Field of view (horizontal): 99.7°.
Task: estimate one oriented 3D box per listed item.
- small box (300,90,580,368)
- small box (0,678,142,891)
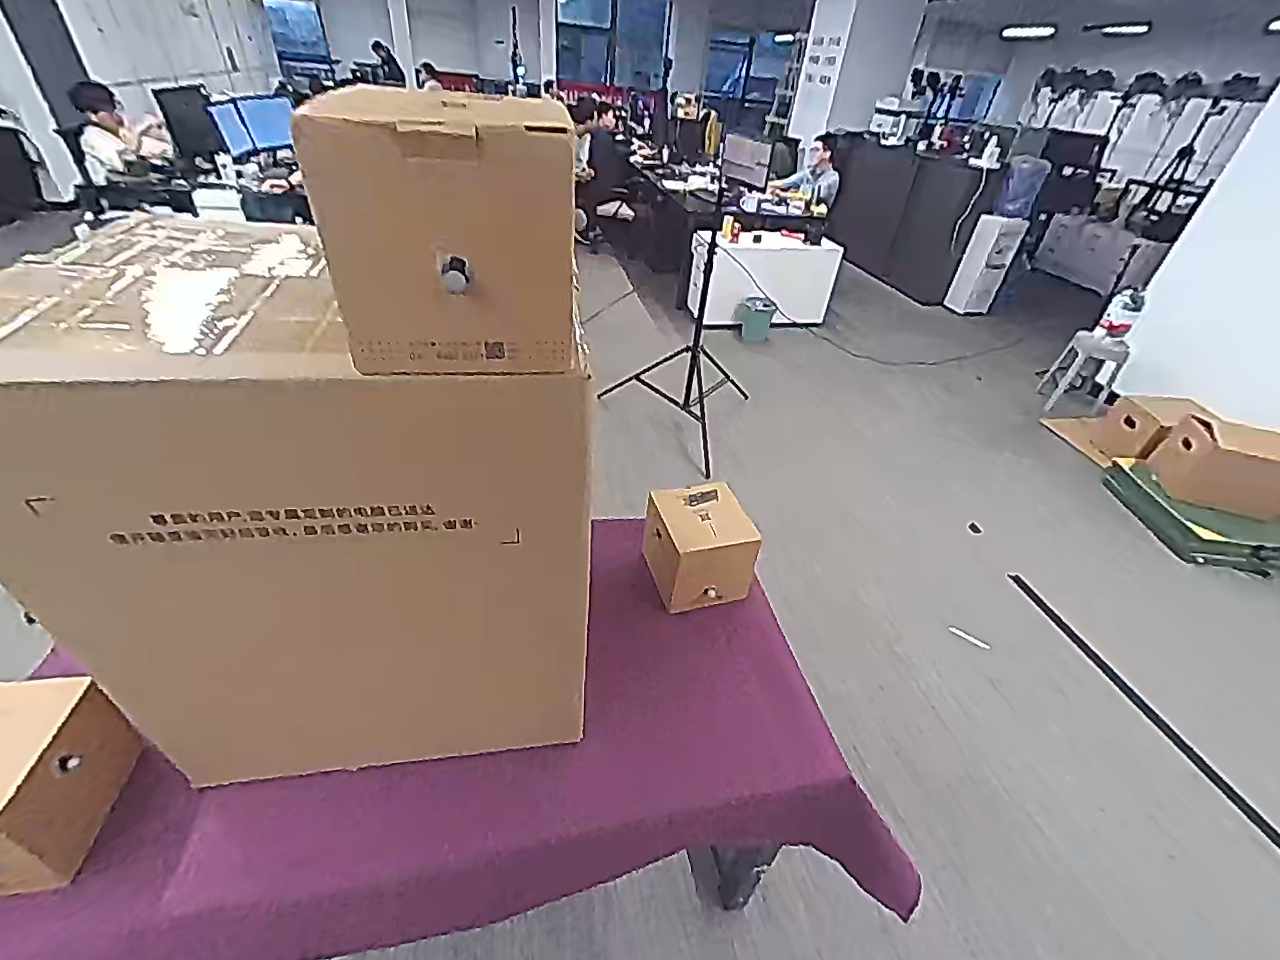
[{"bbox_3d":[-0.137,-0.201,0.439,0.168,0.176,0.179,-3,40,-10],"label":"small box"},{"bbox_3d":[-0.752,0.366,0.641,0.168,0.176,0.179,0,35,-13],"label":"small box"}]
